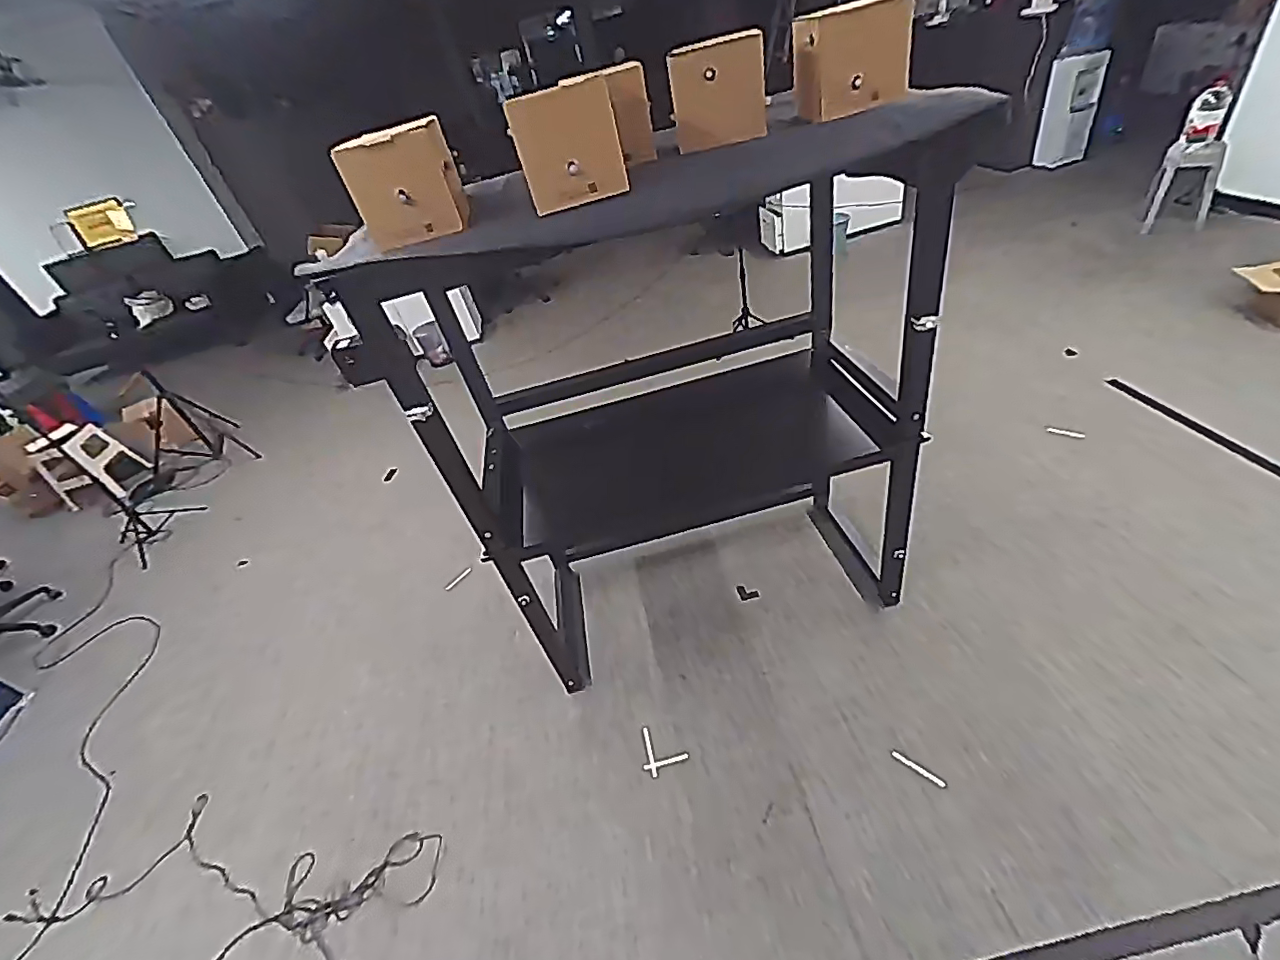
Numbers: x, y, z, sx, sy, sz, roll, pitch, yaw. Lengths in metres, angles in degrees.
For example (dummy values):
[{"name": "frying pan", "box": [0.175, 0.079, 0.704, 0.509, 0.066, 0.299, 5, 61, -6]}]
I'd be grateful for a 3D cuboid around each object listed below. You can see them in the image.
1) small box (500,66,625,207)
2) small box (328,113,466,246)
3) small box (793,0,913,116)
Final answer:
[{"name": "small box", "box": [-0.128, -0.594, 0.943, 0.168, 0.176, 0.179, -15, 37, 3]}, {"name": "small box", "box": [-0.434, -0.552, 1.000, 0.168, 0.176, 0.179, -17, 40, -2]}, {"name": "small box", "box": [0.401, -0.823, 1.045, 0.168, 0.176, 0.179, -12, 39, 5]}]
